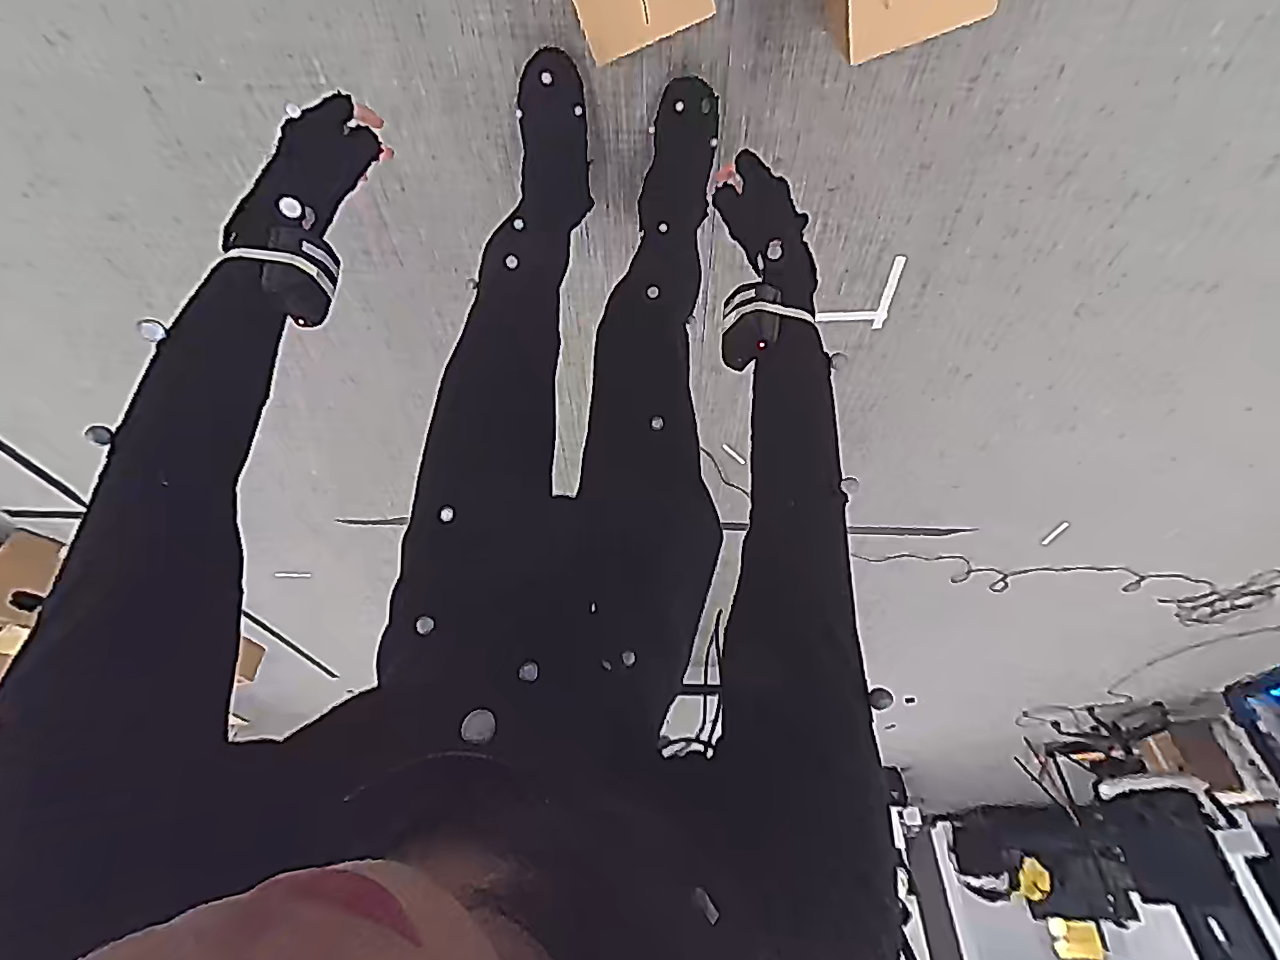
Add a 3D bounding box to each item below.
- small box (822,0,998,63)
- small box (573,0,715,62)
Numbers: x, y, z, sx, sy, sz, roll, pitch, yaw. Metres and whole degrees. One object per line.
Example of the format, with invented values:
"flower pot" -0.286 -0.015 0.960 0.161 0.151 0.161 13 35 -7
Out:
"small box" 0.330 -0.670 0.673 0.179 0.176 0.168 -11 139 16
"small box" -0.010 -0.675 0.674 0.168 0.176 0.179 -12 140 16
